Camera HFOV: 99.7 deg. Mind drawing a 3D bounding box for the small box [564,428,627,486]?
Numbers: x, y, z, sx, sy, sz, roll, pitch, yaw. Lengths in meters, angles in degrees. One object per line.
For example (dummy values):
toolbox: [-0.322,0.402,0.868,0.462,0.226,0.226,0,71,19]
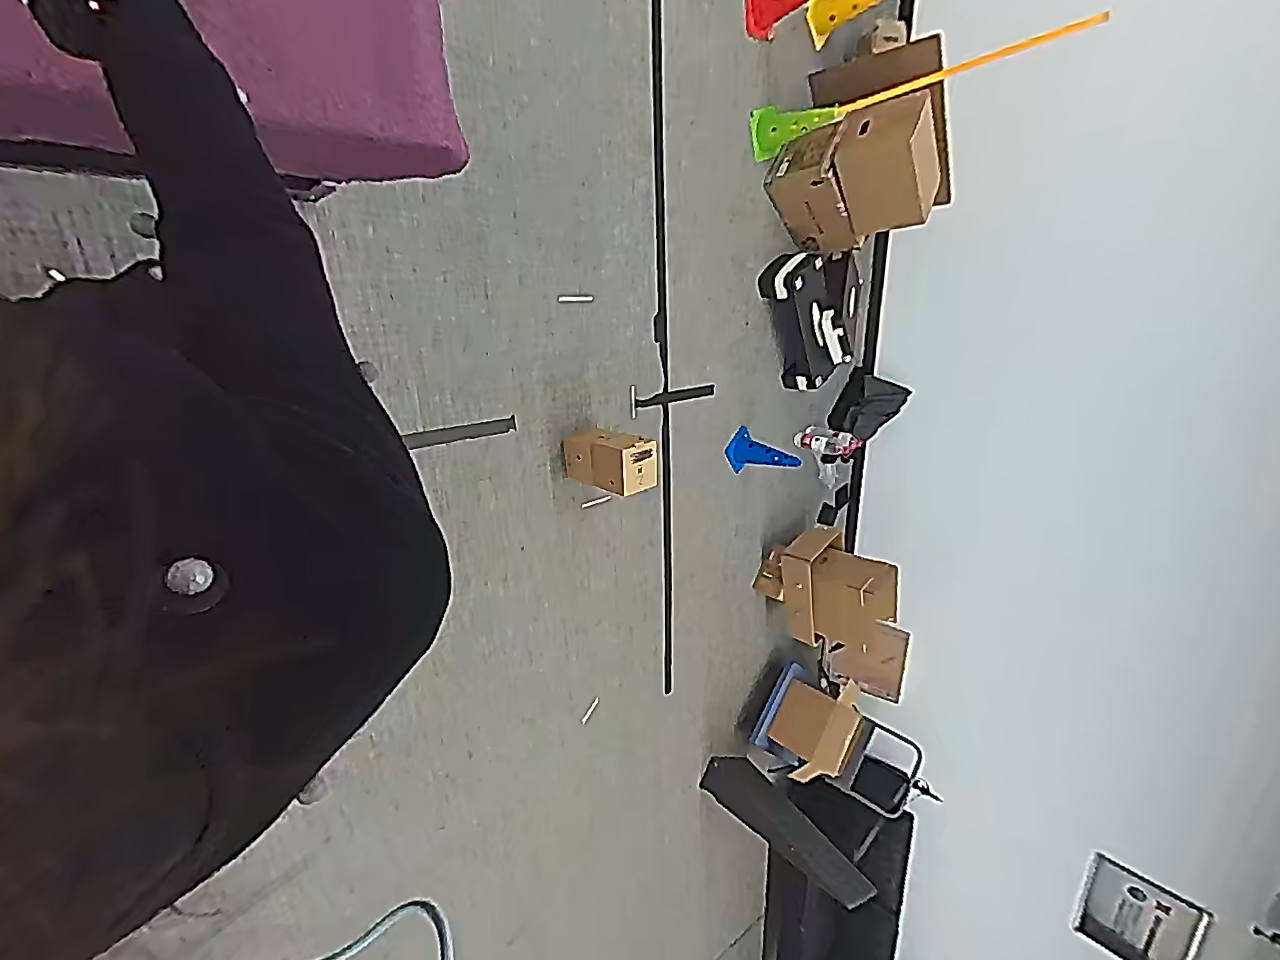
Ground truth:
small box: [-0.176,-0.092,2.067,0.179,0.176,0.168,-23,118,-39]
